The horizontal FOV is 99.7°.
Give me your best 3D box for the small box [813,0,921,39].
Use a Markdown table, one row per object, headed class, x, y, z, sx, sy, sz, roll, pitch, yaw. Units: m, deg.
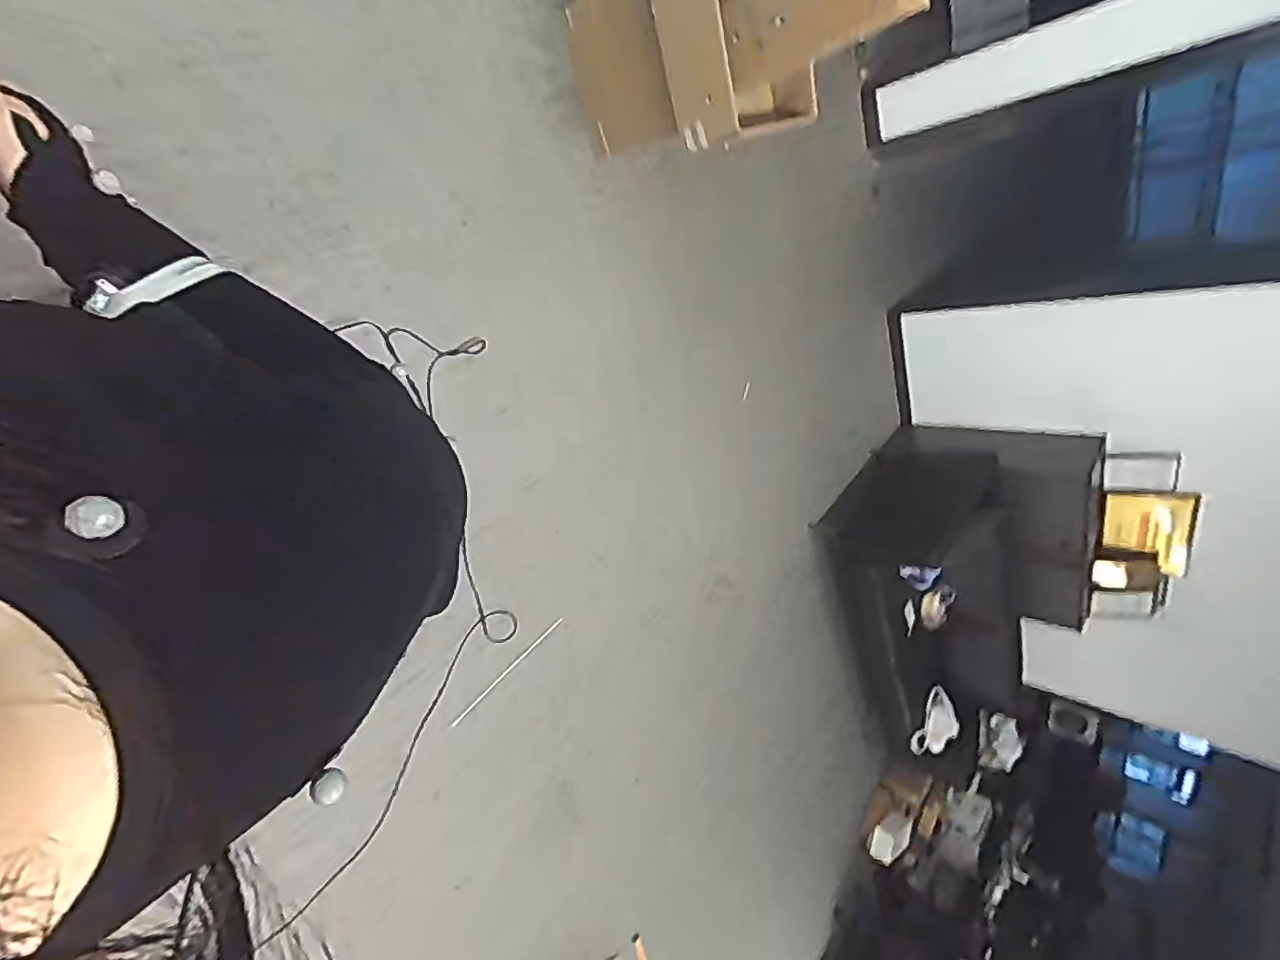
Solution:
| class | x | y | z | sx | sy | sz | roll | pitch | yaw |
| --- | --- | --- | --- | --- | --- | --- | --- | --- | --- |
| small box | 0.473 | -1.077 | 1.142 | 0.168 | 0.176 | 0.179 | -38 | 122 | -32 |
